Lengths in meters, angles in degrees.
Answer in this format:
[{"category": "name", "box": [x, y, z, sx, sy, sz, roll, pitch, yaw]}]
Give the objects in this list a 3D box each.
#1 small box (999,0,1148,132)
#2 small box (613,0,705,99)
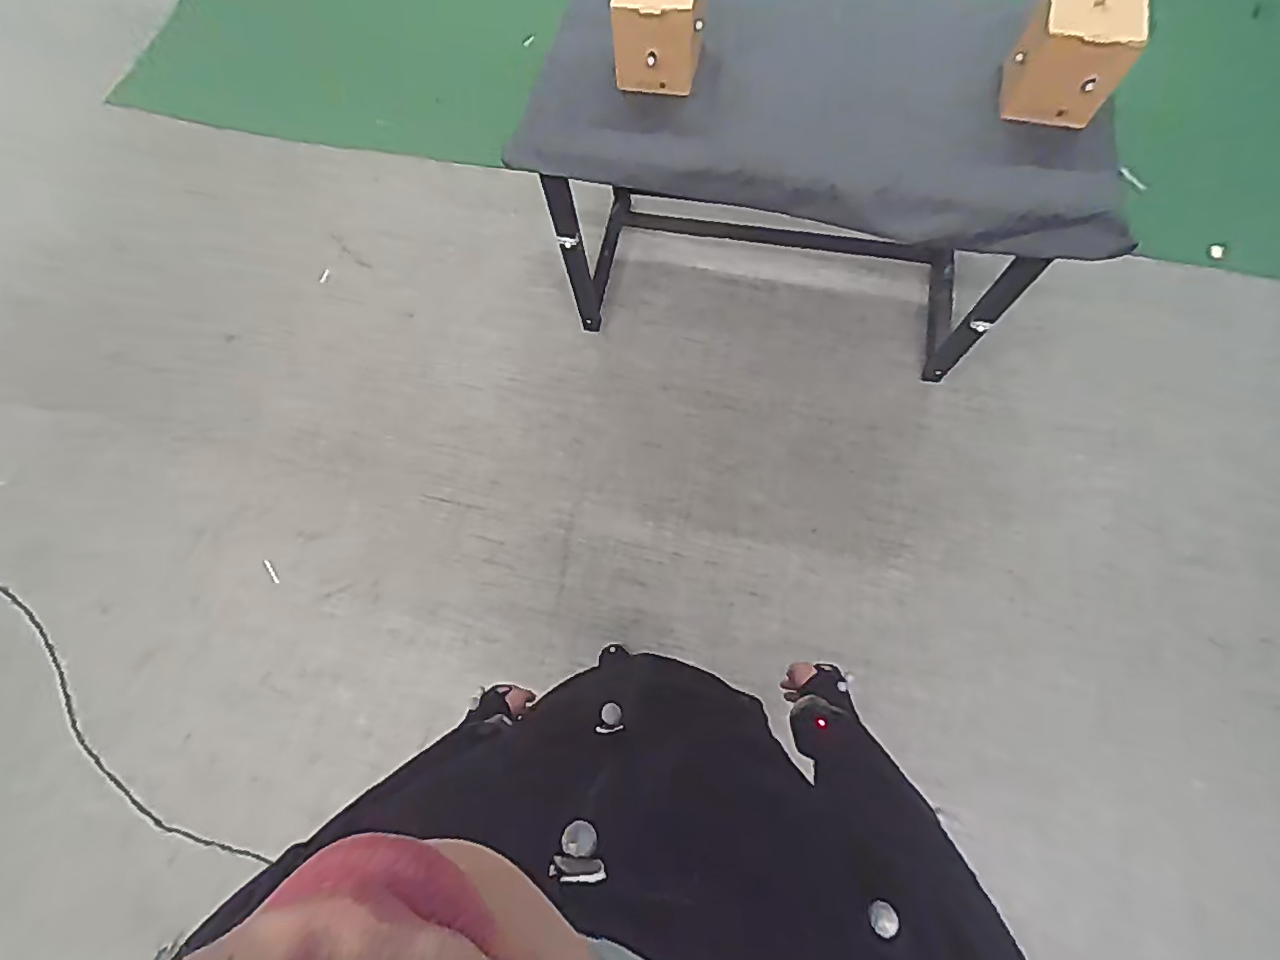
[{"category": "small box", "box": [0.836, -0.824, 1.058, 0.168, 0.176, 0.179, 14, 72, 8]}, {"category": "small box", "box": [0.046, -0.961, 1.160, 0.168, 0.176, 0.179, 10, 73, 6]}]
